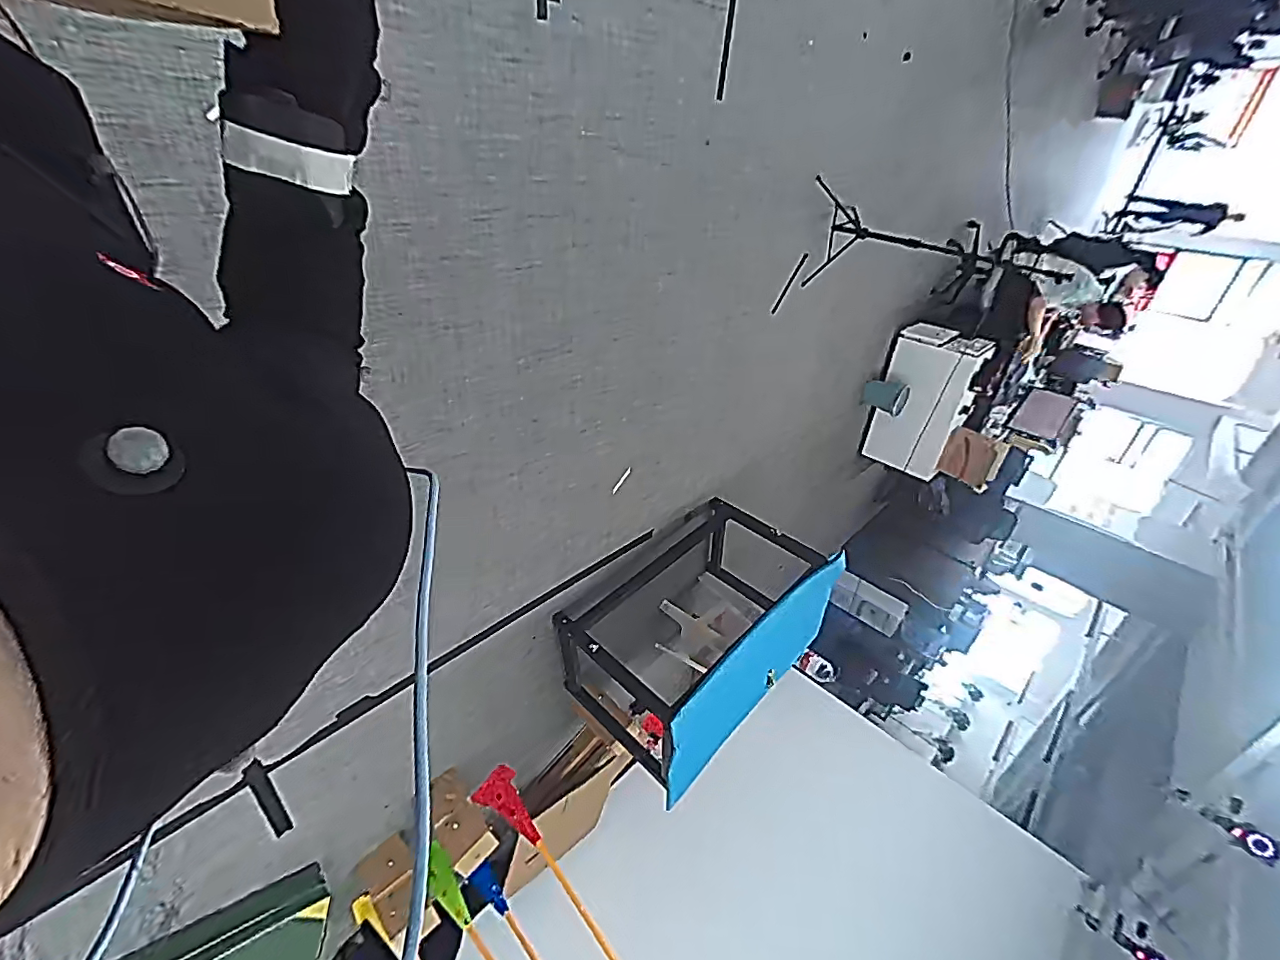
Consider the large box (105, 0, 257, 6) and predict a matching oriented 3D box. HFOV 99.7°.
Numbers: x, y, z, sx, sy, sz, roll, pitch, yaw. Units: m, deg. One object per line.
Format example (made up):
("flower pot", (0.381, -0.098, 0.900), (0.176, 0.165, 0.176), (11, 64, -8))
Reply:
("large box", (-0.412, -0.383, 0.148), (0.408, 0.320, 0.320), (-23, 136, -42))
